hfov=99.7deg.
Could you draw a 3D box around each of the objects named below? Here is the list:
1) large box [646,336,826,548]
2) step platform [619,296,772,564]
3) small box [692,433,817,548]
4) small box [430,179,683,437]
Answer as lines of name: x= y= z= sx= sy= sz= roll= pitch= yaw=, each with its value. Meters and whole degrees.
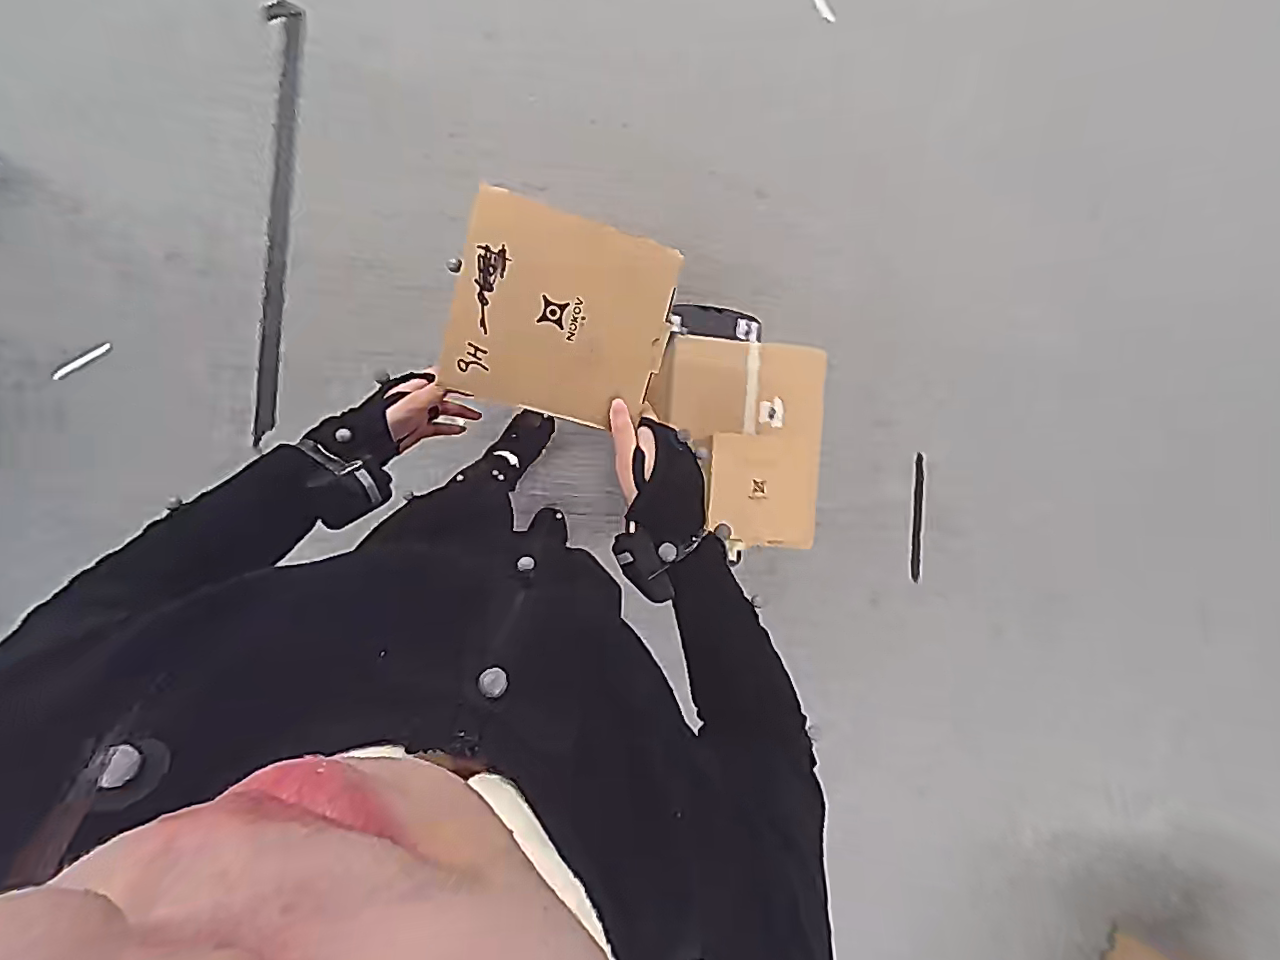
large box: x=0.190 y=-0.067 z=1.197 sx=0.320 sy=0.320 sz=0.408 roll=4 pitch=89 yaw=-9
step platform: x=0.143 y=-0.124 z=1.430 sx=0.286 sy=0.204 sz=0.684 roll=10 pitch=88 yaw=-8
small box: x=0.191 y=0.017 z=0.950 sx=0.168 sy=0.176 sz=0.179 roll=4 pitch=89 yaw=-7
small box: x=-0.082 y=-0.146 z=0.517 sx=0.179 sy=0.176 sz=0.168 roll=13 pitch=94 yaw=-14
